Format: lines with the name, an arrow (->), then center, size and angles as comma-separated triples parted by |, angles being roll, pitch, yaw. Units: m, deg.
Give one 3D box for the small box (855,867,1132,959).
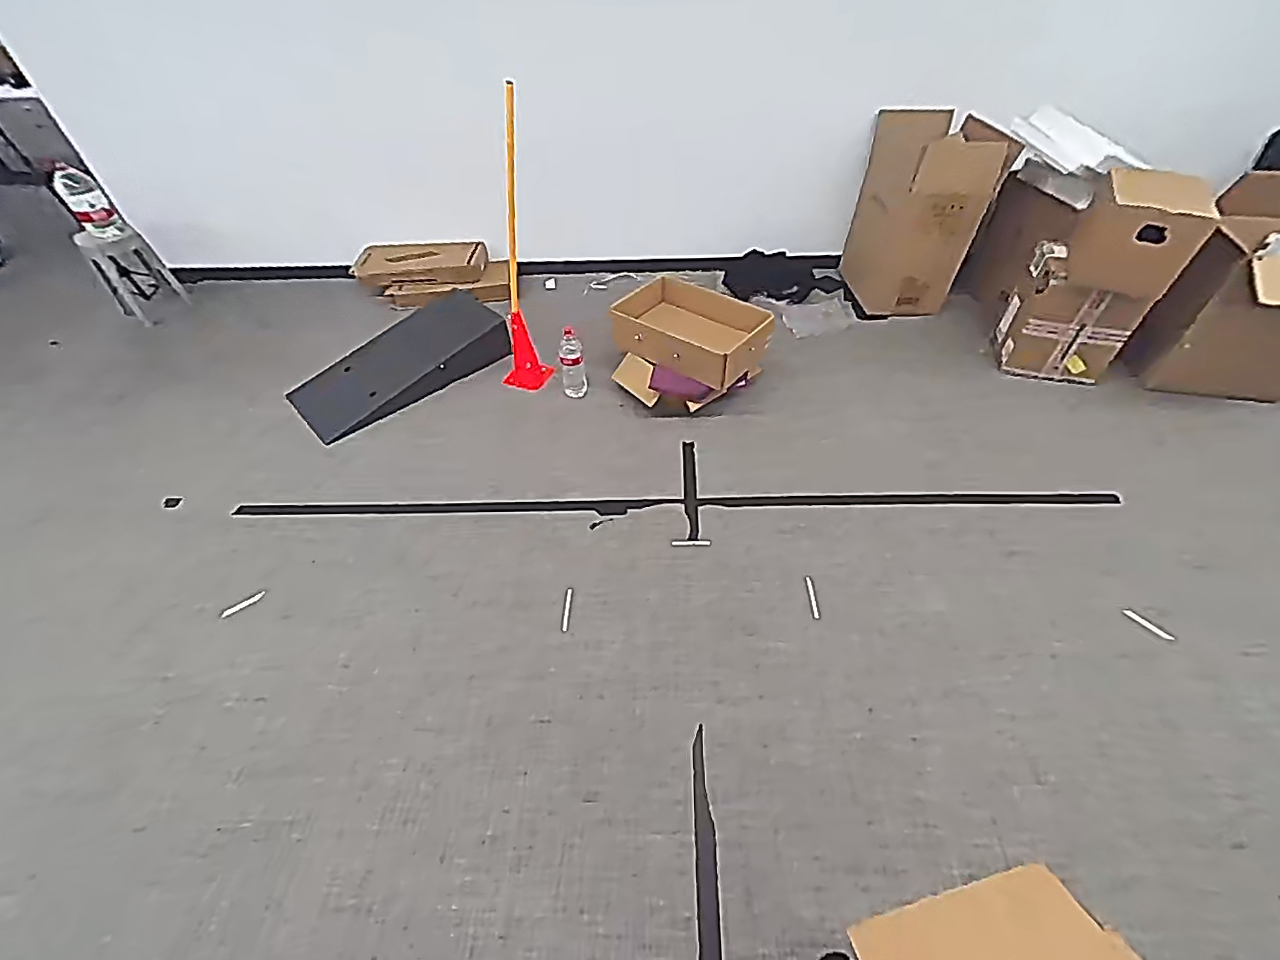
small box -> 0.288, 0.439, 0.388 | 0.179, 0.176, 0.168 | -18, 6, 1
